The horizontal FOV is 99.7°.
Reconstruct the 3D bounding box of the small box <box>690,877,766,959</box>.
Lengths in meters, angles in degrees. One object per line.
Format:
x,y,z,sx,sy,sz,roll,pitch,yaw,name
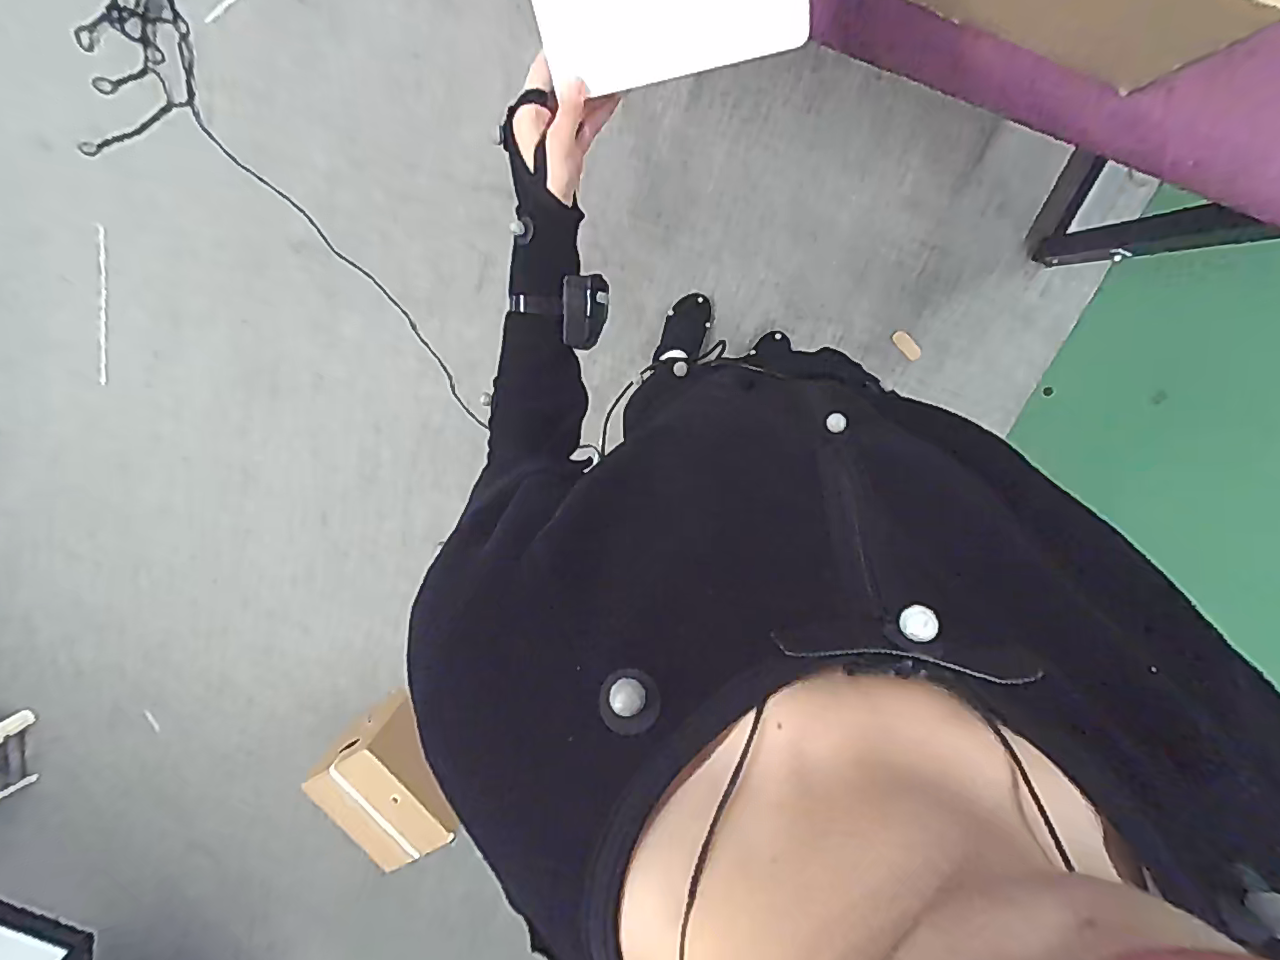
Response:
0.241,1.259,1.511,0.179,0.176,0.168,11,106,4,small box
